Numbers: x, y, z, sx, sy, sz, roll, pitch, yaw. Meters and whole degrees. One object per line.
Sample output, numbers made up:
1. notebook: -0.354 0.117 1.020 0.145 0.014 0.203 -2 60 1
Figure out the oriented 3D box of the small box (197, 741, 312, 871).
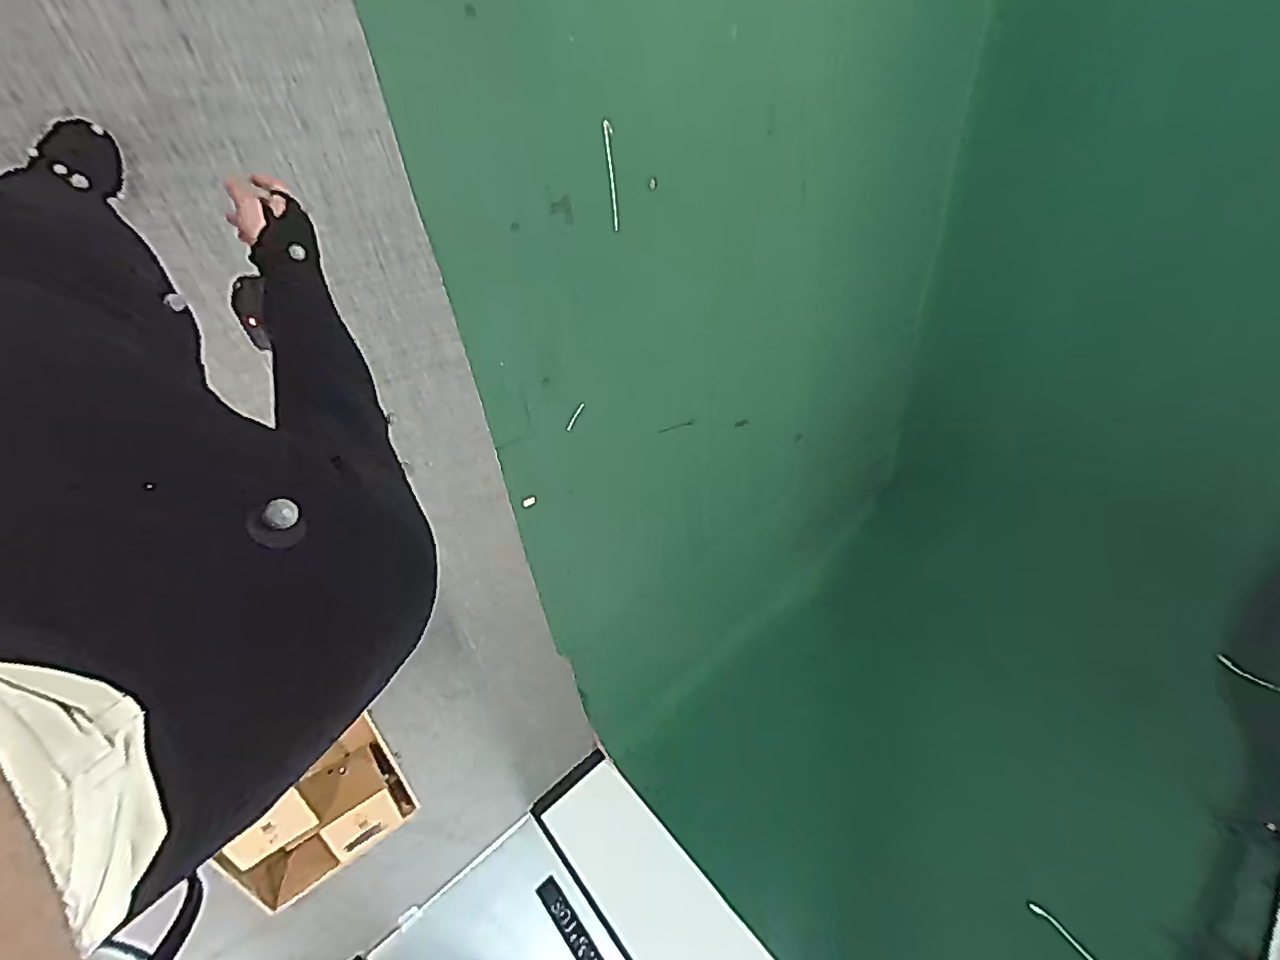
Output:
1. small box: -0.911 0.756 1.278 0.168 0.176 0.179 -25 129 -31
